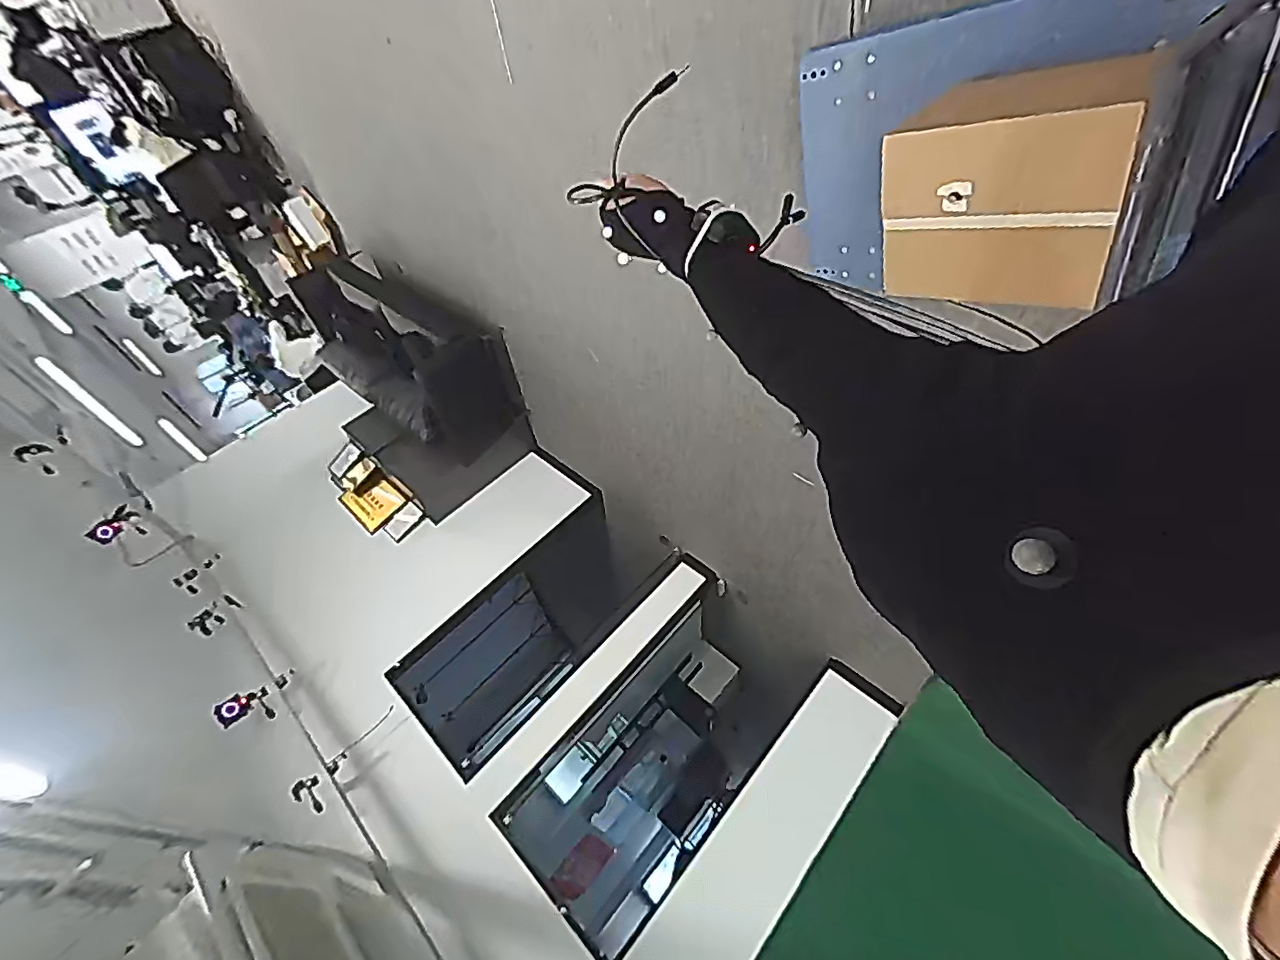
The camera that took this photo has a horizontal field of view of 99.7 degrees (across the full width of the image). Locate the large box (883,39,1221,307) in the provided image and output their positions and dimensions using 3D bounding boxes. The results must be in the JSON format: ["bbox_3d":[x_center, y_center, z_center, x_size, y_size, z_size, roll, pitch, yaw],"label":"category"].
[{"bbox_3d":[0.730,-0.550,1.013,0.408,0.320,0.320,25,146,43],"label":"large box"}]
